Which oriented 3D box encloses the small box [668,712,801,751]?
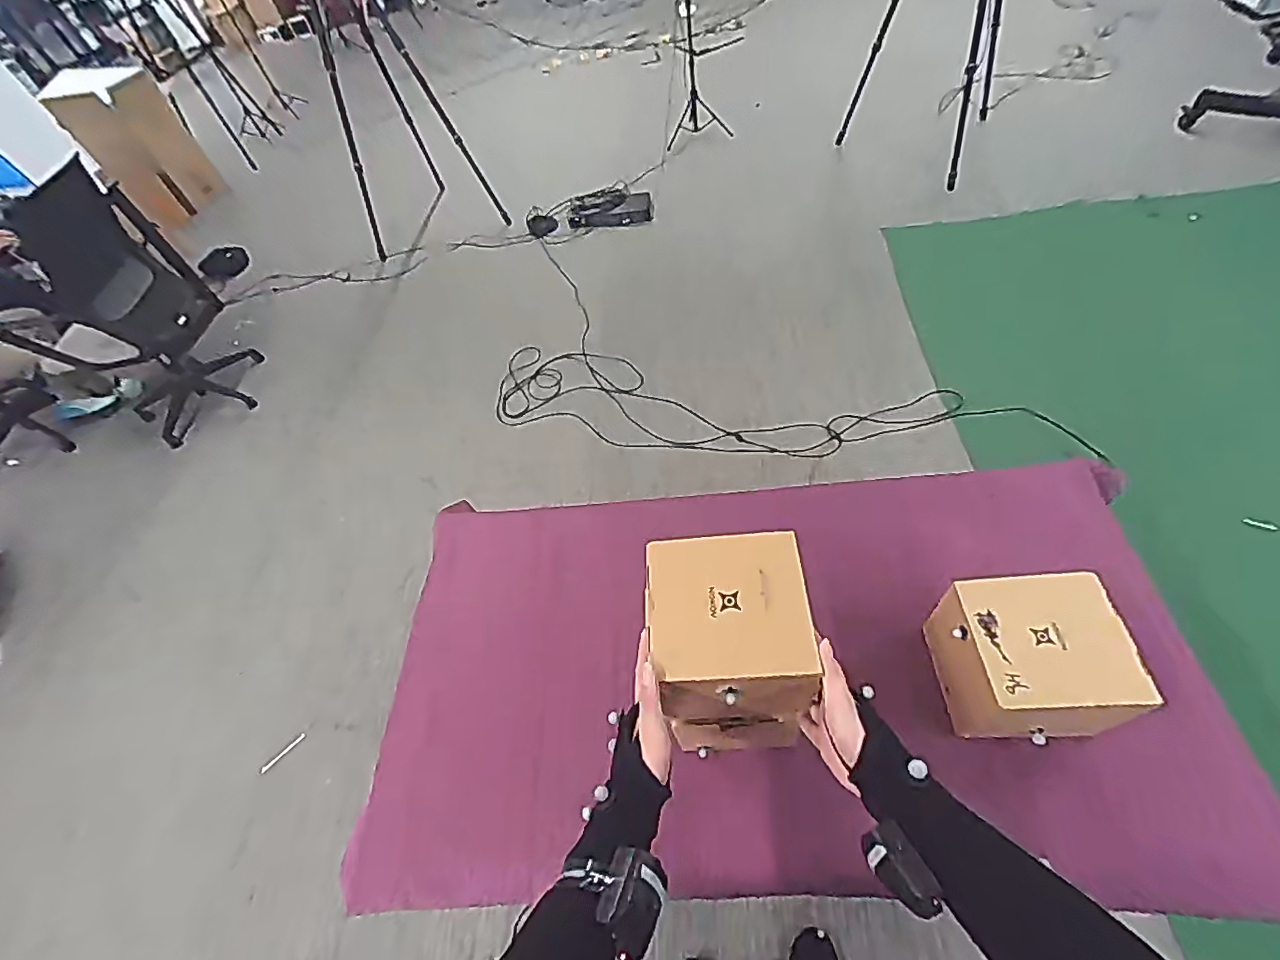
[{"bbox_3d":[0.128,0.279,0.773,0.168,0.176,0.179,-5,52,6],"label":"small box"}]

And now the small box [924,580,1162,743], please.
[{"bbox_3d":[0.515,0.247,0.726,0.179,0.176,0.168,-4,53,8],"label":"small box"}]

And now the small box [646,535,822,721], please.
[{"bbox_3d":[0.105,0.182,0.644,0.179,0.176,0.168,-4,53,6],"label":"small box"}]
